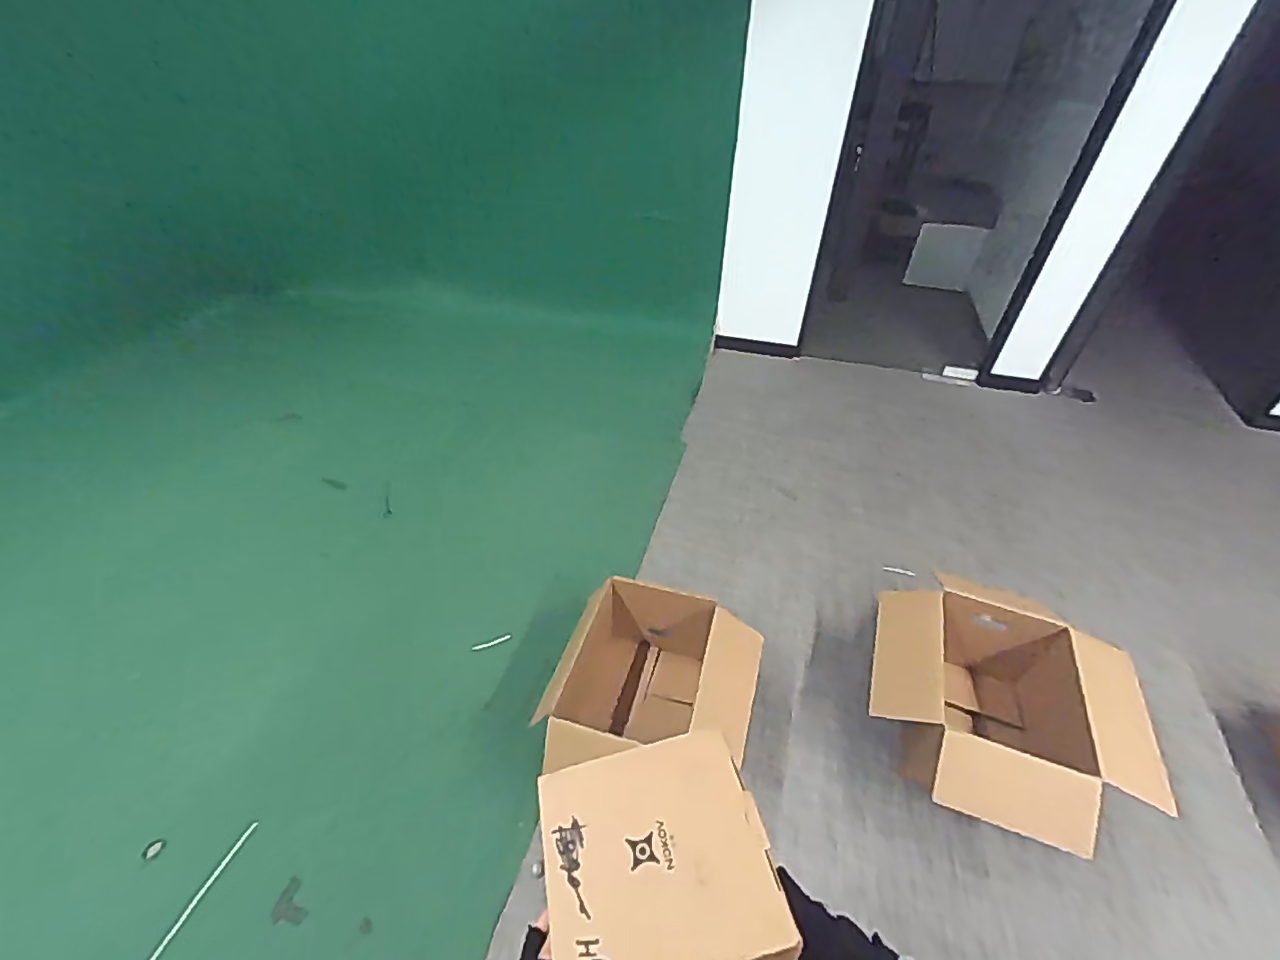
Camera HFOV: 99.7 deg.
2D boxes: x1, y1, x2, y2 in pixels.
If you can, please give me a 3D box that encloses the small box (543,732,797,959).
[{"bbox_3d":[0.017,0.361,0.483,0.179,0.176,0.168,-10,37,-7],"label":"small box"}]
